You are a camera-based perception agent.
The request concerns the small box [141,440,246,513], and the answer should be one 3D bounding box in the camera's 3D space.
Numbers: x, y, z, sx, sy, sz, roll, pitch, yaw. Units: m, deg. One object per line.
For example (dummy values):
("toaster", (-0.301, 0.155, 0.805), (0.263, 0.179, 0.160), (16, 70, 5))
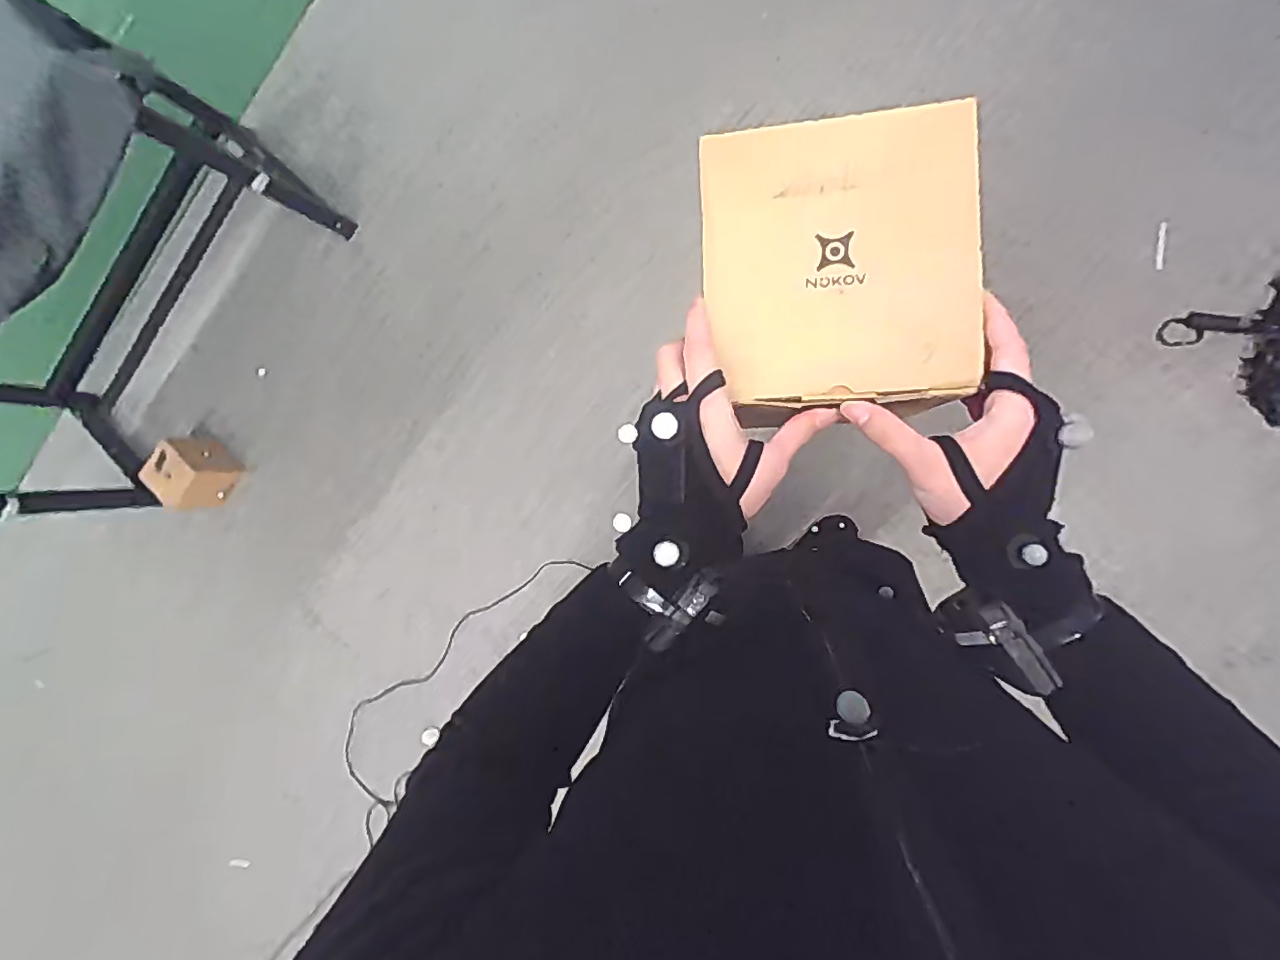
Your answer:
("small box", (-1.446, -0.012, 1.759), (0.179, 0.176, 0.168), (42, 101, 9))
